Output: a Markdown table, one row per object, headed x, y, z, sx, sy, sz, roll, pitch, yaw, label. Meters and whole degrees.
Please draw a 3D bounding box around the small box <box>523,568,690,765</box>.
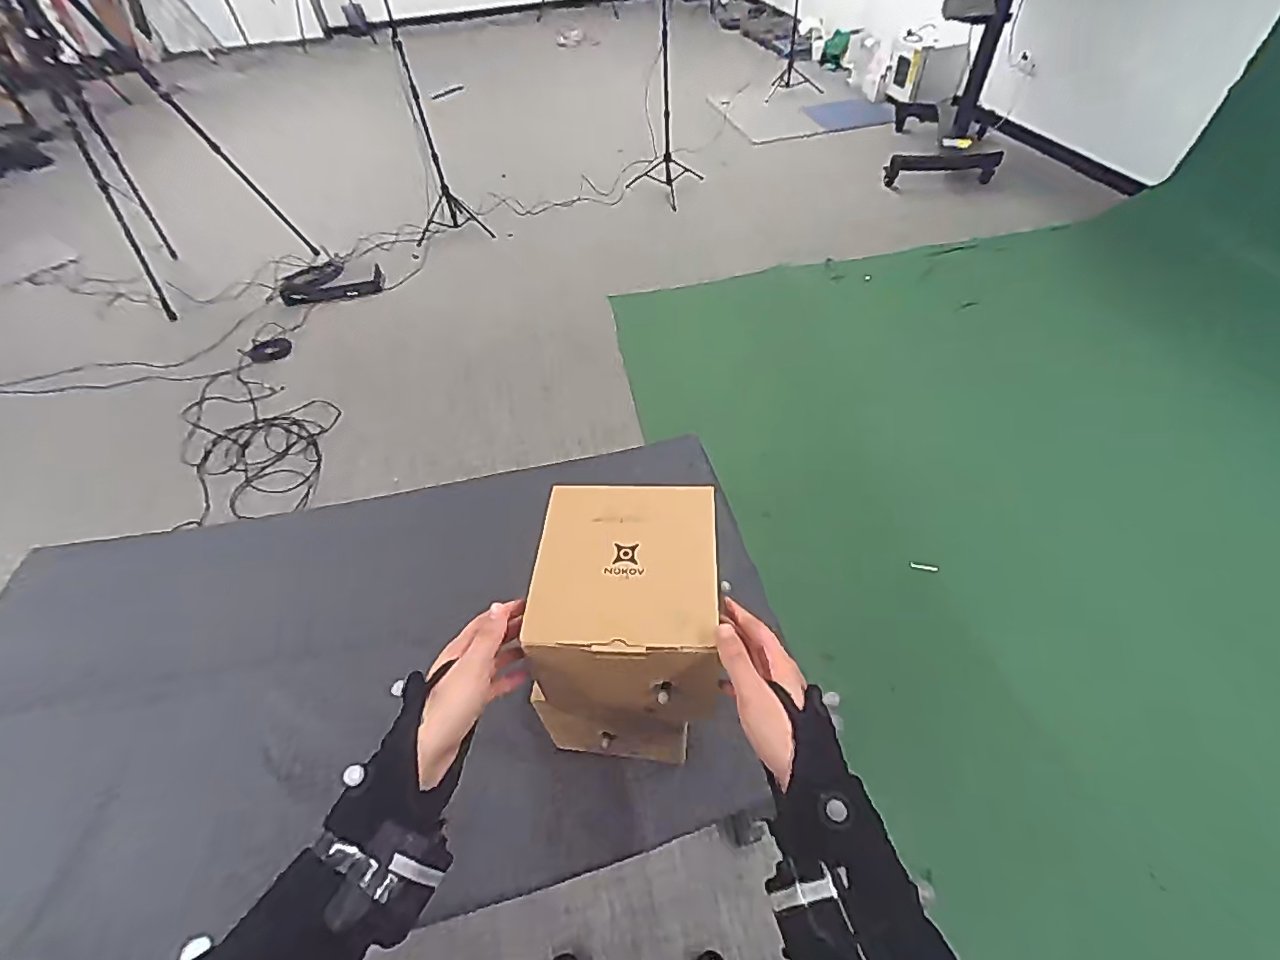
| x | y | z | sx | sy | sz | roll | pitch | yaw | label |
| --- | --- | --- | --- | --- | --- | --- | --- | --- | --- |
| -0.026 | 0.232 | 0.666 | 0.168 | 0.176 | 0.179 | 3 | 48 | 7 | small box |
